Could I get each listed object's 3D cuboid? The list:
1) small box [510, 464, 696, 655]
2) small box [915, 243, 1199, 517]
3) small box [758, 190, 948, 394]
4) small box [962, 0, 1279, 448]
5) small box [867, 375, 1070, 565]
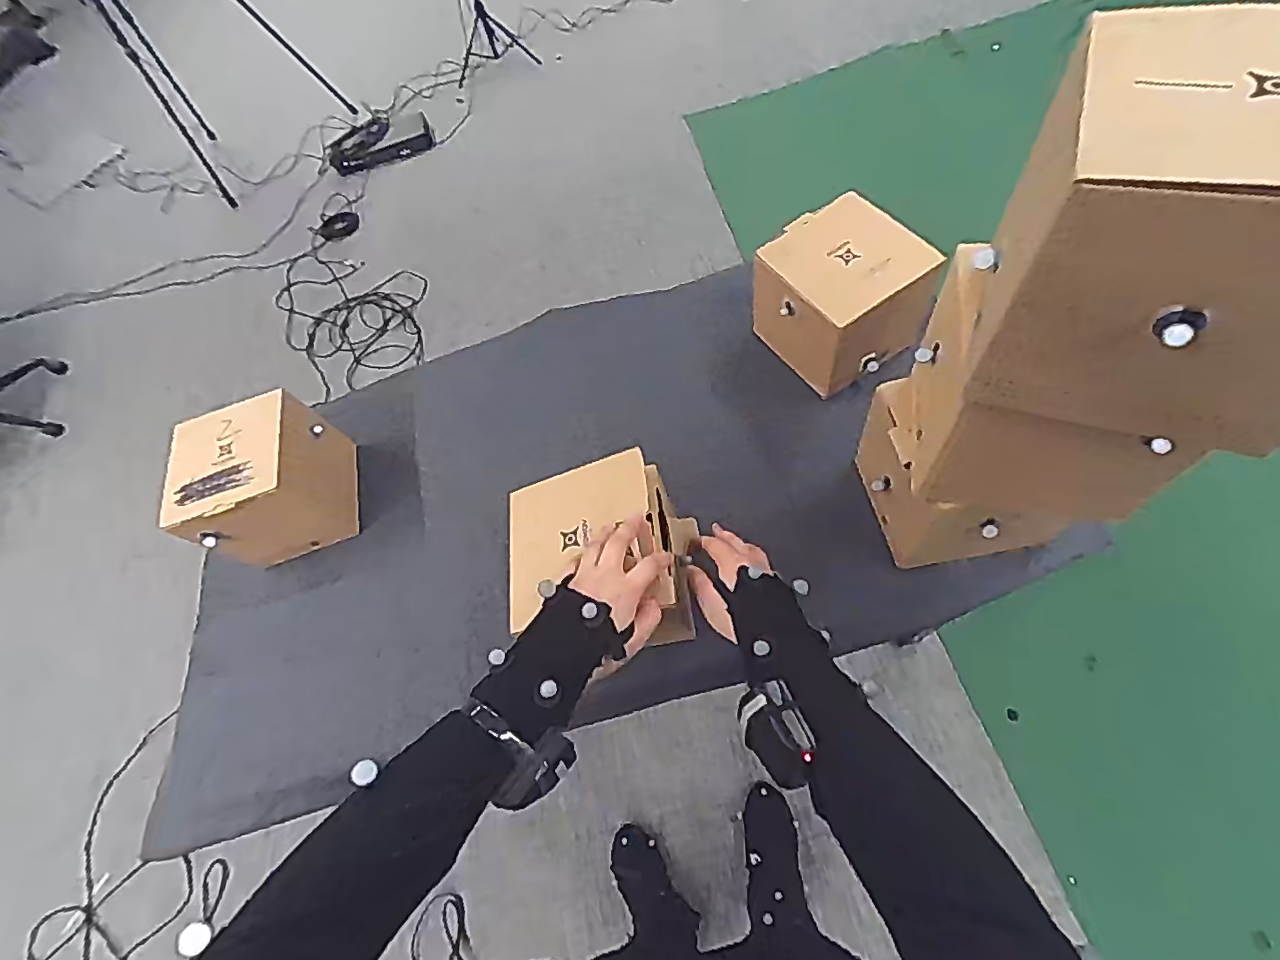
[{"bbox_3d":[-0.039,0.105,0.647,0.179,0.176,0.168,-12,63,7],"label":"small box"},{"bbox_3d":[0.351,-0.081,0.471,0.179,0.176,0.168,7,63,15],"label":"small box"},{"bbox_3d":[0.281,-0.256,0.761,0.168,0.176,0.179,-33,64,-3],"label":"small box"},{"bbox_3d":[0.323,-0.139,0.318,0.179,0.176,0.168,16,66,20],"label":"small box"},{"bbox_3d":[0.376,-0.016,0.619,0.179,0.176,0.168,-13,59,6],"label":"small box"}]
